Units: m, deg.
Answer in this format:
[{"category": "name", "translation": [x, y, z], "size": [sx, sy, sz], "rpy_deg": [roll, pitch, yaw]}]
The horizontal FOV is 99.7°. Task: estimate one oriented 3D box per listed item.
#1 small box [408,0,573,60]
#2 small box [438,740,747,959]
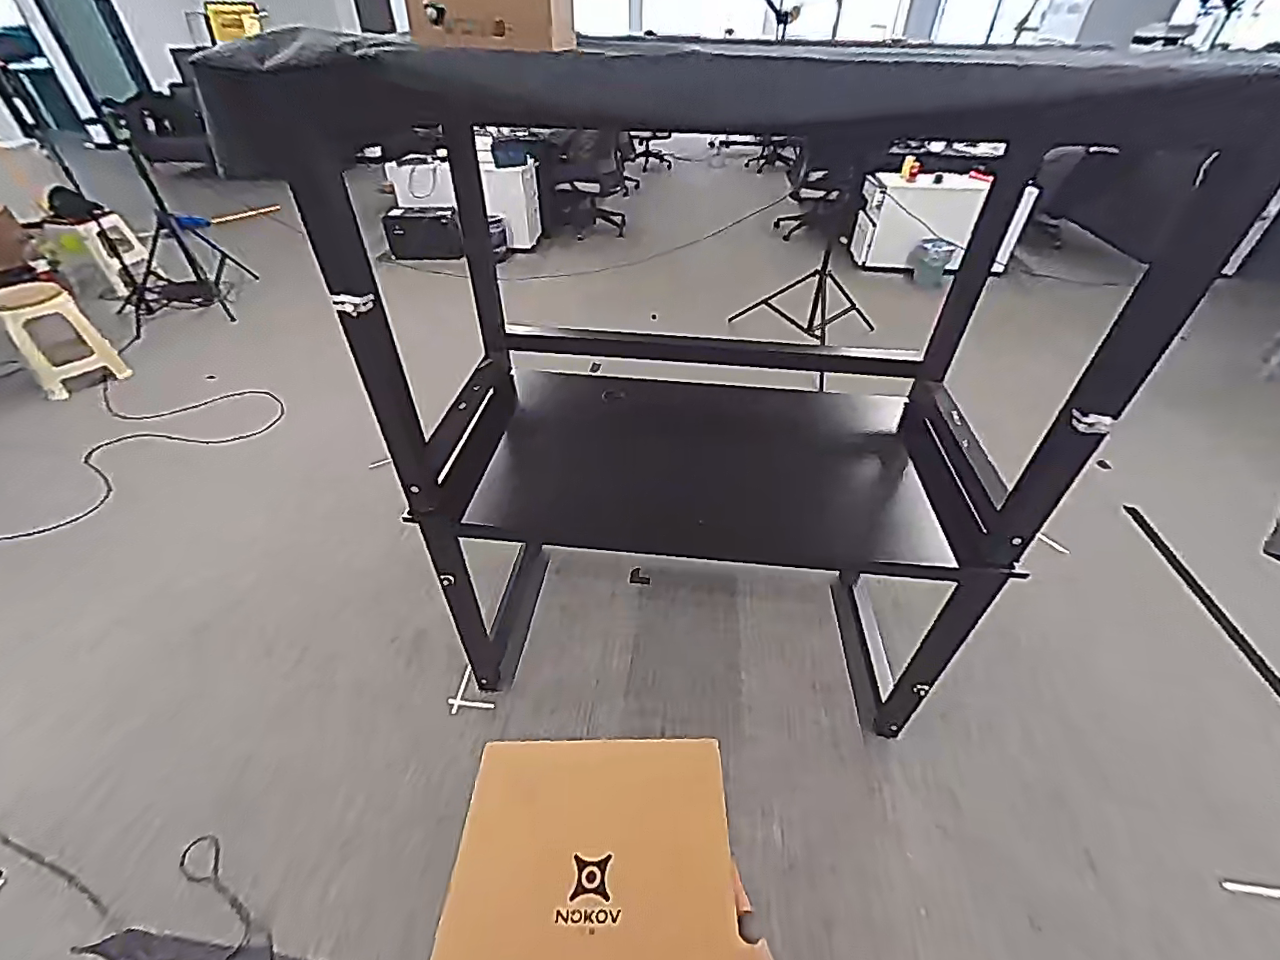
[{"category": "small box", "translation": [-0.173, -0.603, 0.636], "size": [0.168, 0.176, 0.179], "rpy_deg": [4, 39, 1]}, {"category": "small box", "translation": [-0.021, 0.299, 0.355], "size": [0.168, 0.176, 0.179], "rpy_deg": [-2, 35, 2]}]
